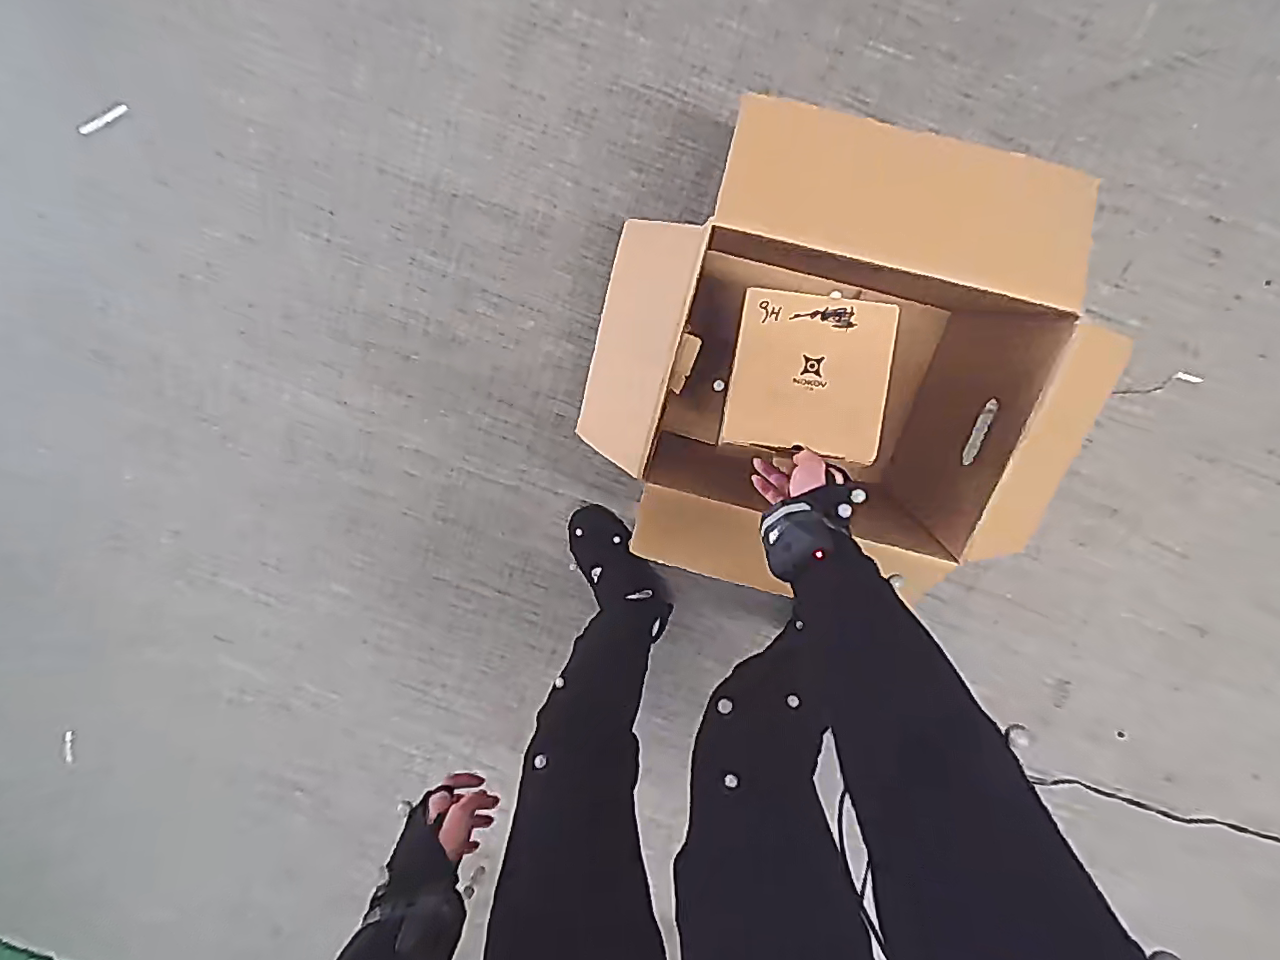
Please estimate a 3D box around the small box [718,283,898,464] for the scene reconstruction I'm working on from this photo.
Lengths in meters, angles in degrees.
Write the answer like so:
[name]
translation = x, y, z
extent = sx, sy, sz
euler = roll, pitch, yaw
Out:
[small box]
translation = 0.192, -0.119, 0.671
extent = 0.168, 0.176, 0.179
euler = 11, 90, 6
